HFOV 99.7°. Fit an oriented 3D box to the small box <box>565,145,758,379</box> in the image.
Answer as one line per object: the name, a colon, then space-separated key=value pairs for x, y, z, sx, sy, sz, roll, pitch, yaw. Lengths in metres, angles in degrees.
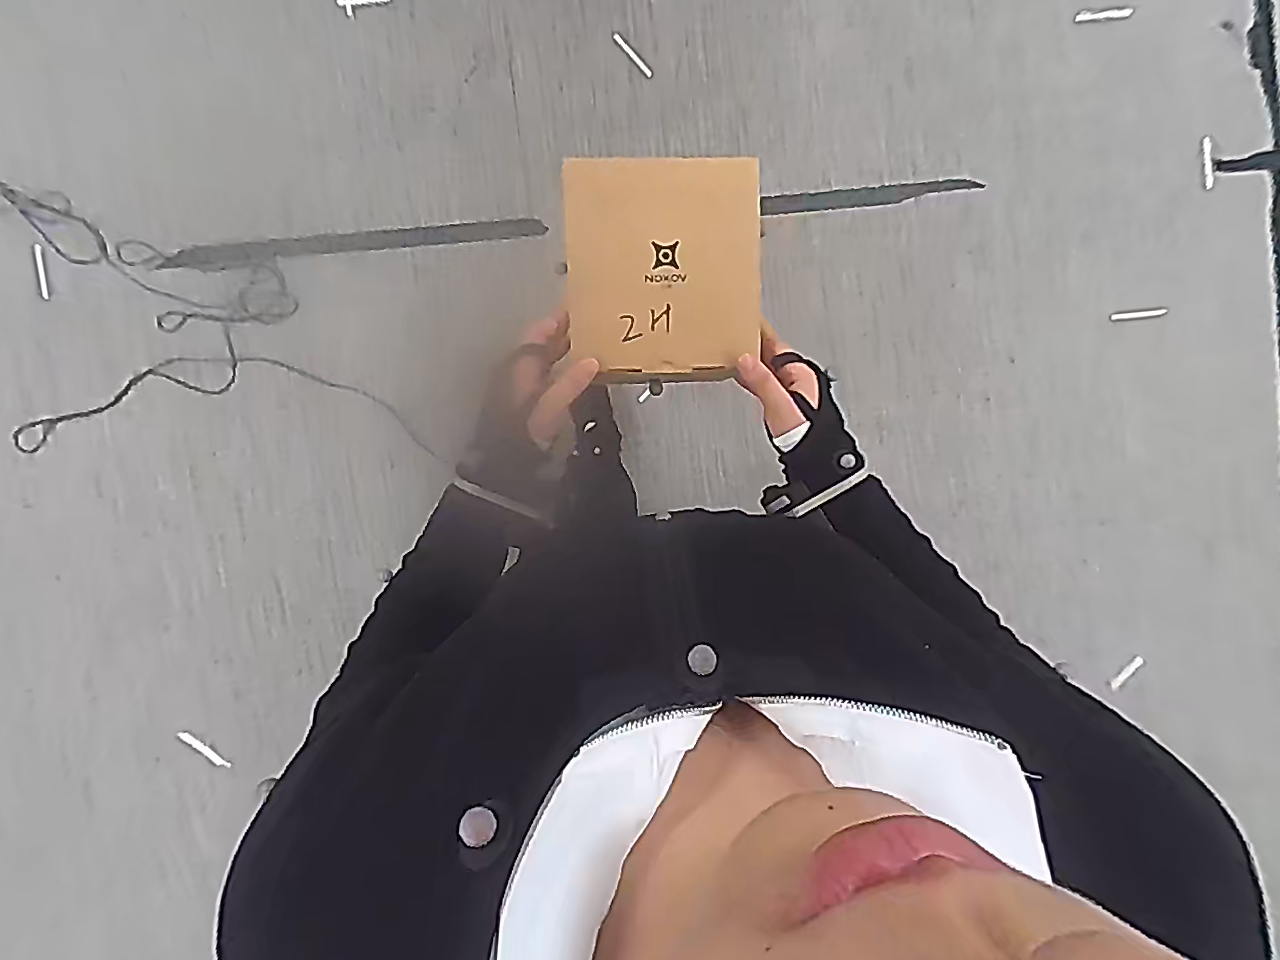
small box: x=0.015 y=-0.199 z=0.538 sx=0.168 sy=0.176 sz=0.179 roll=-2 pitch=95 yaw=-2
